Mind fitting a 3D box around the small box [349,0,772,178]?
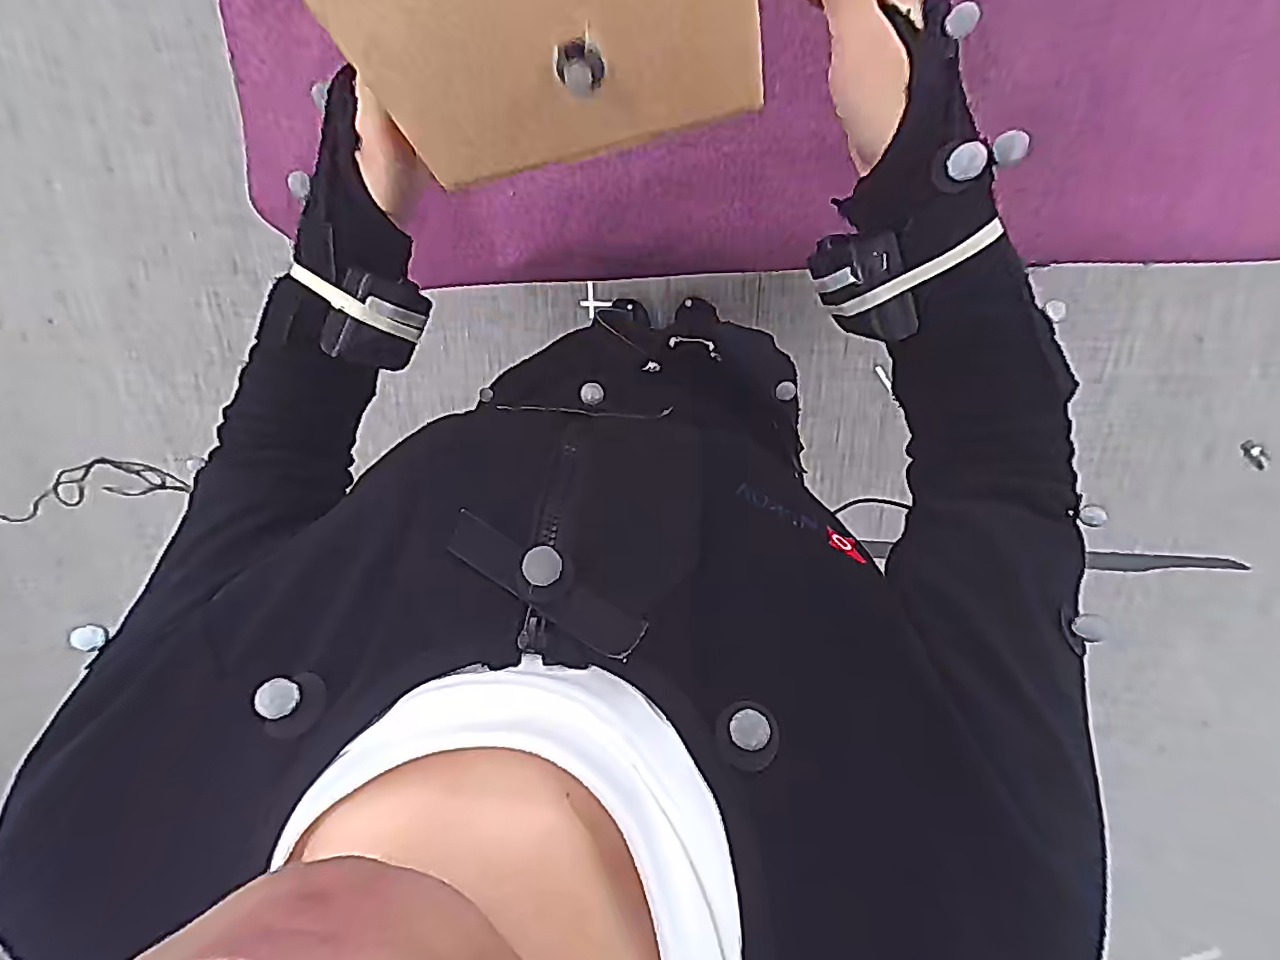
[{"bbox_3d":[-0.044,-0.277,0.232,0.179,0.176,0.168,-6,65,14],"label":"small box"}]
